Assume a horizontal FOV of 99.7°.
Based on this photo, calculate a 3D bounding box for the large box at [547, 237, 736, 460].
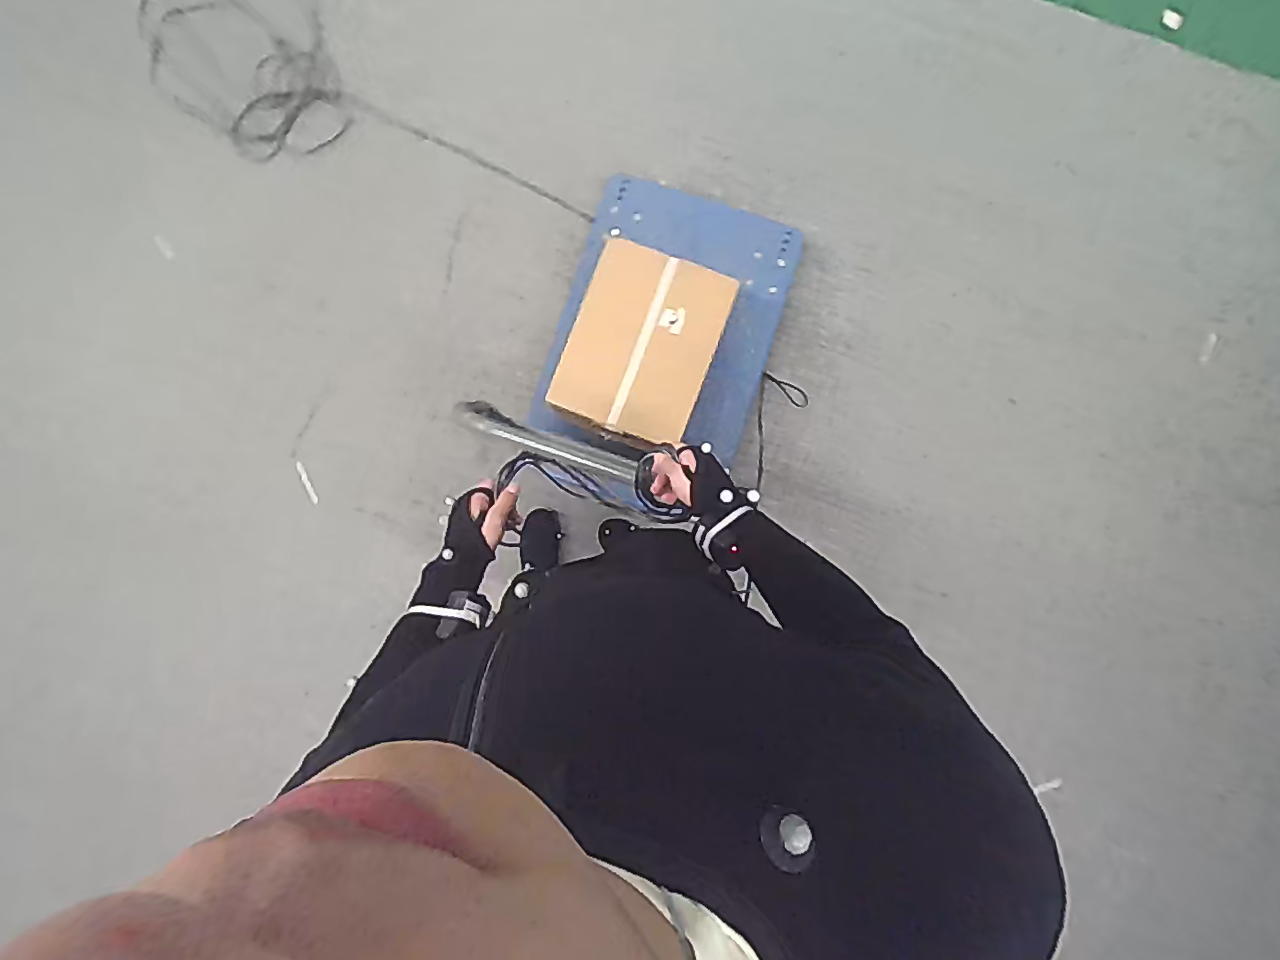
[{"bbox_3d":[0.005,-0.293,1.330,0.320,0.320,0.408,21,88,1],"label":"large box"}]
